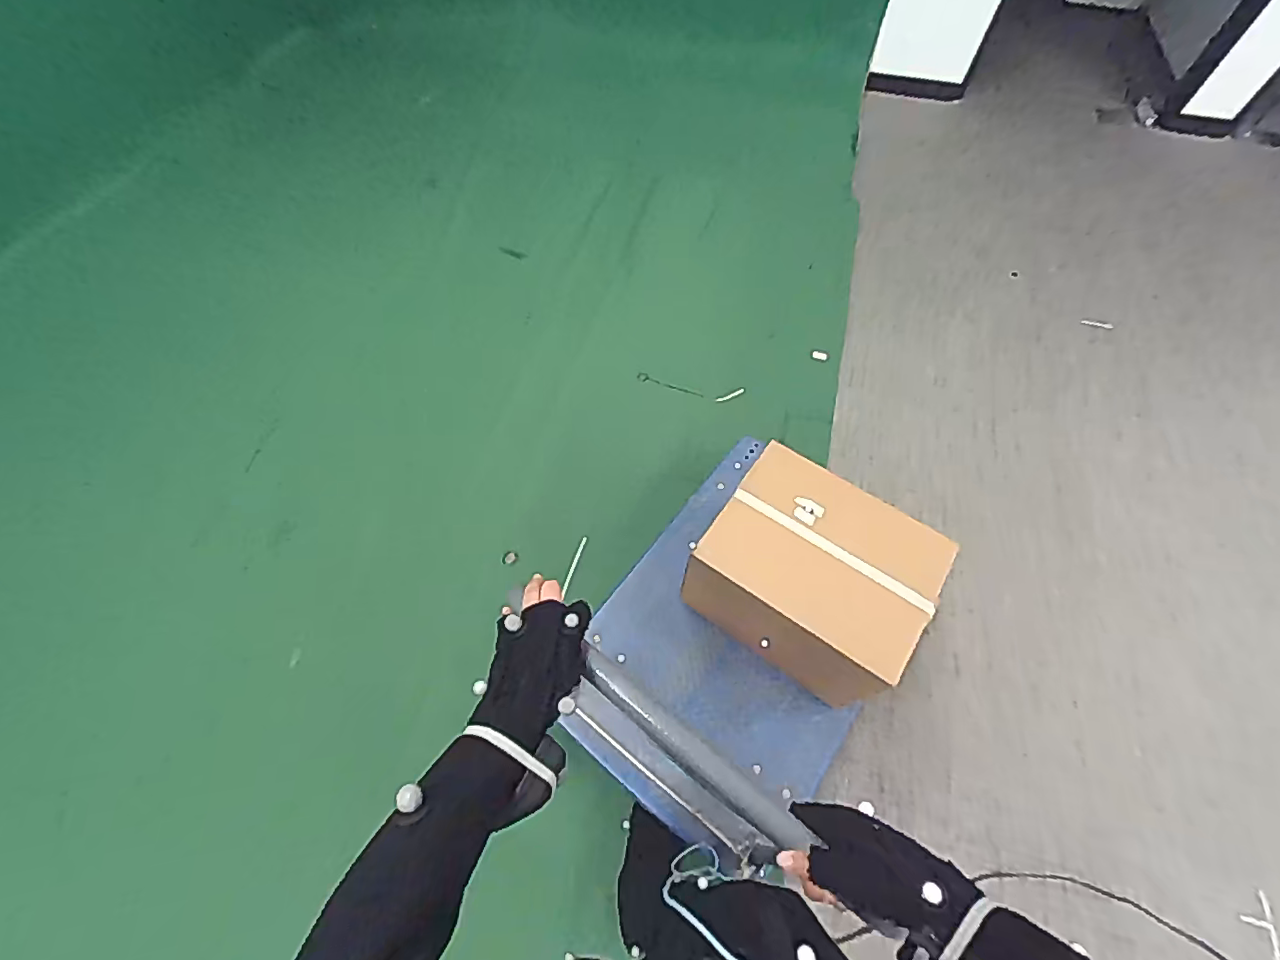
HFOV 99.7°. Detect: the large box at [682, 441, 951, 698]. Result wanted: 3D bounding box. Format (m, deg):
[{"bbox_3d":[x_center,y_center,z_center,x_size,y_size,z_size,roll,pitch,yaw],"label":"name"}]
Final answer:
[{"bbox_3d":[0.340,0.194,1.138,0.408,0.320,0.320,32,66,18],"label":"large box"}]
